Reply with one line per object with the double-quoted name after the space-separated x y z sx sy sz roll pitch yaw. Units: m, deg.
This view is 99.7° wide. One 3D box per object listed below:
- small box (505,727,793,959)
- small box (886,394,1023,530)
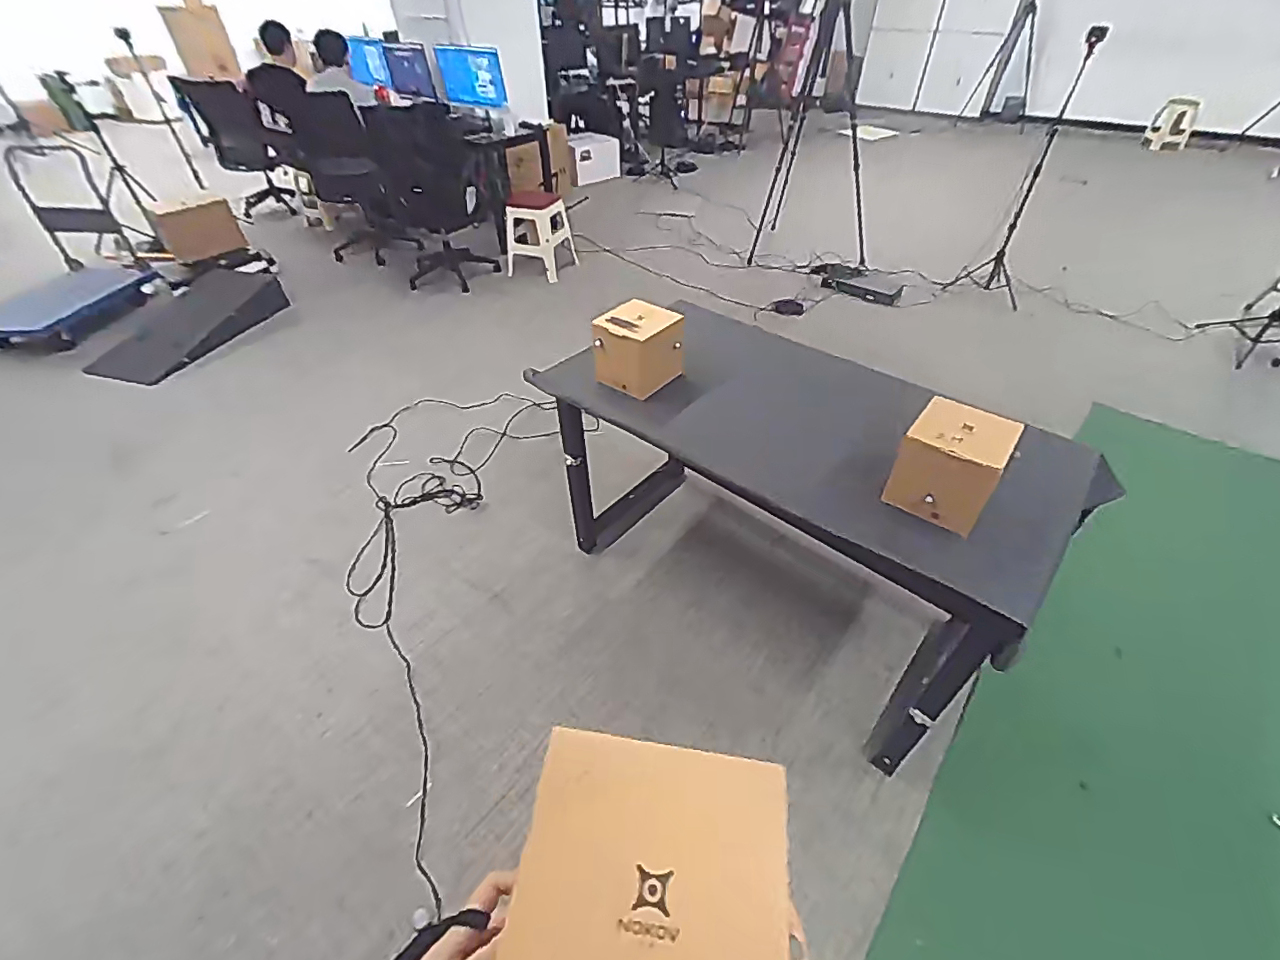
0.006 0.305 0.387 0.168 0.176 0.179 8 50 4 "small box"
0.605 -0.036 1.055 0.168 0.176 0.179 27 50 30 "small box"
